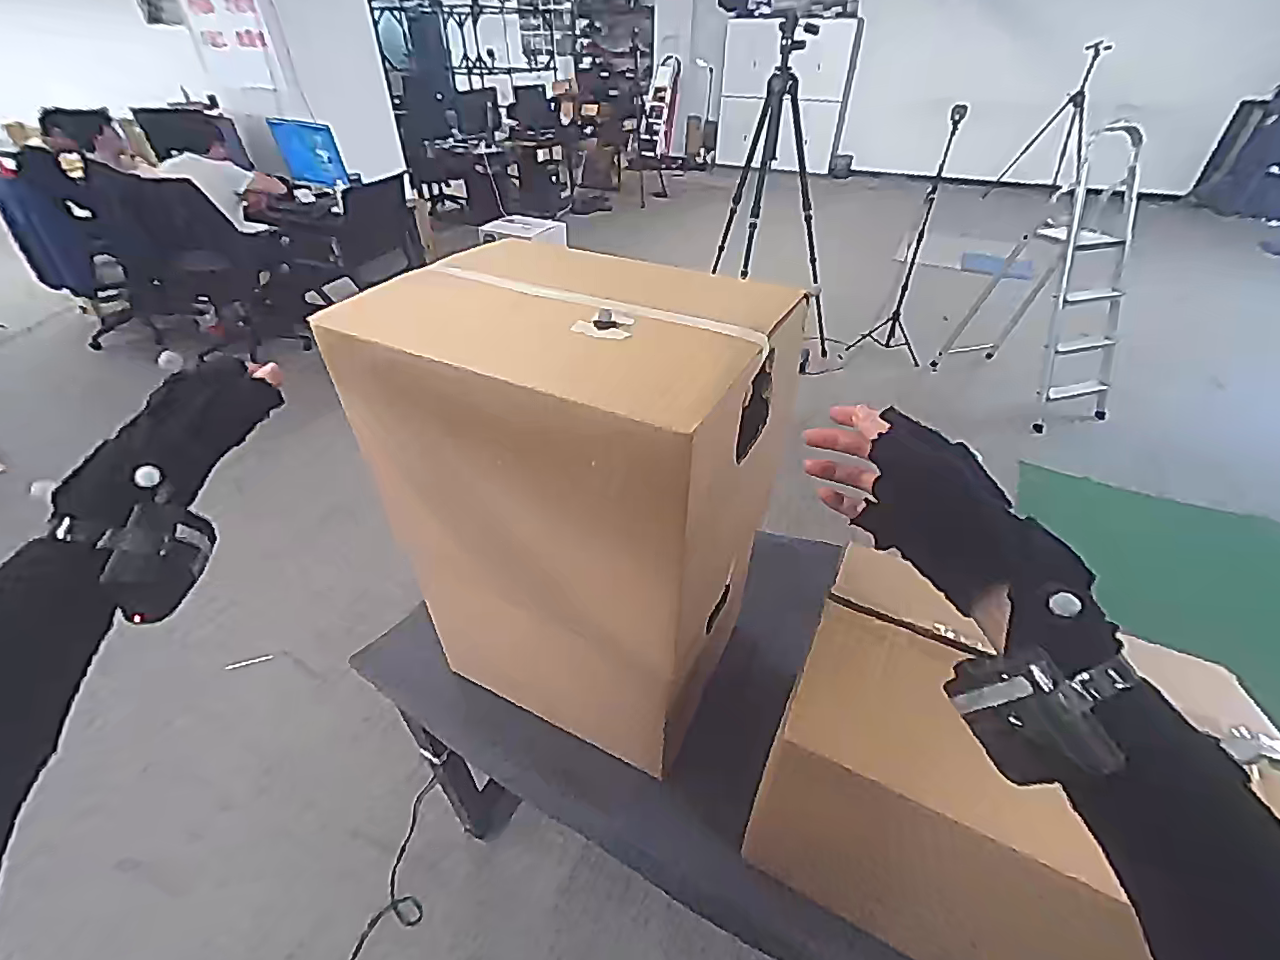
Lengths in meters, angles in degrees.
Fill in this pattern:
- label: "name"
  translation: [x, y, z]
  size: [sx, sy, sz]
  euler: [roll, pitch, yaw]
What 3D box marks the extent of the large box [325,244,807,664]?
- label: "large box"
  translation: [-0.067, -0.057, 0.650]
  size: [0.408, 0.320, 0.320]
  euler: [20, 44, 20]
